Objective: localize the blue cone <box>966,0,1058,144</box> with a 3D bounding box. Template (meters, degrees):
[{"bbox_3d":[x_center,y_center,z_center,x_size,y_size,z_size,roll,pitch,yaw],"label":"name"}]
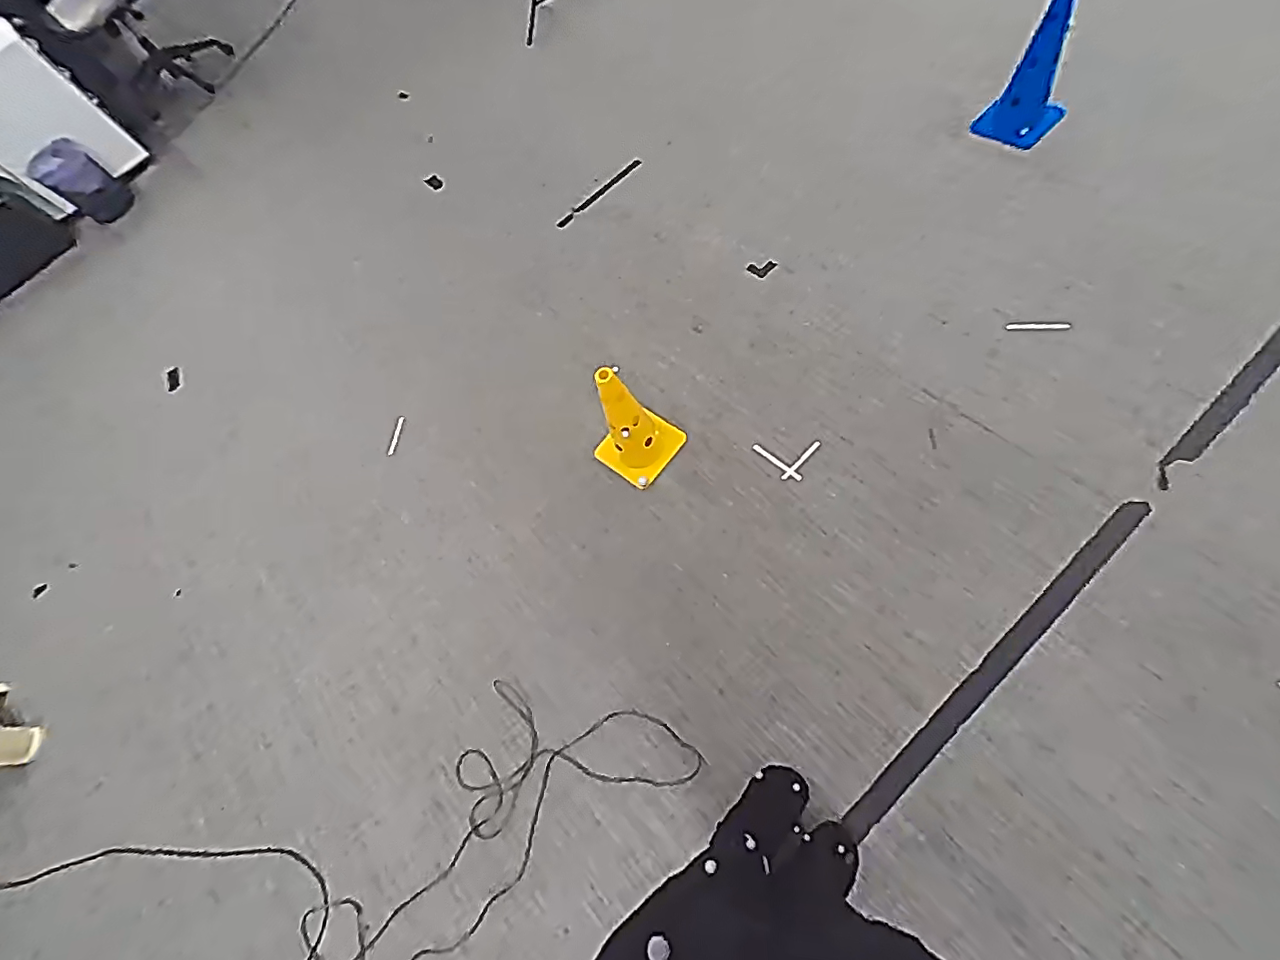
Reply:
[{"bbox_3d":[1.100,-1.183,1.527,0.193,0.380,0.192,-43,62,-7],"label":"blue cone"}]
